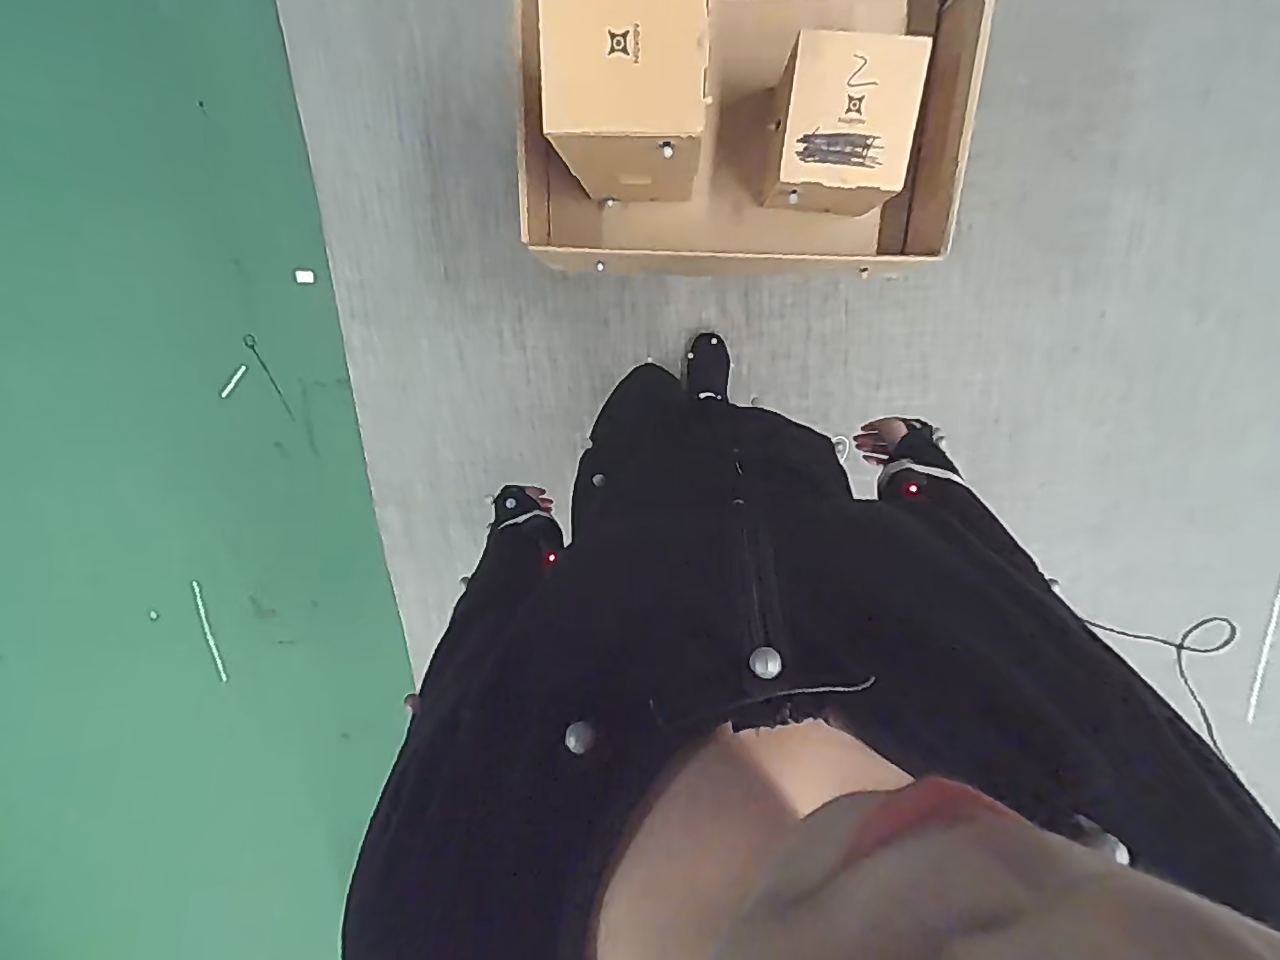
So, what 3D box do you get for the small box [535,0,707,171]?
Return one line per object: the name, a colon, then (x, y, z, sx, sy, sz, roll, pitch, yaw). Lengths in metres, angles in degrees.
small box: (-0.016, -0.473, 0.631, 0.179, 0.176, 0.168, 1, 106, 2)
